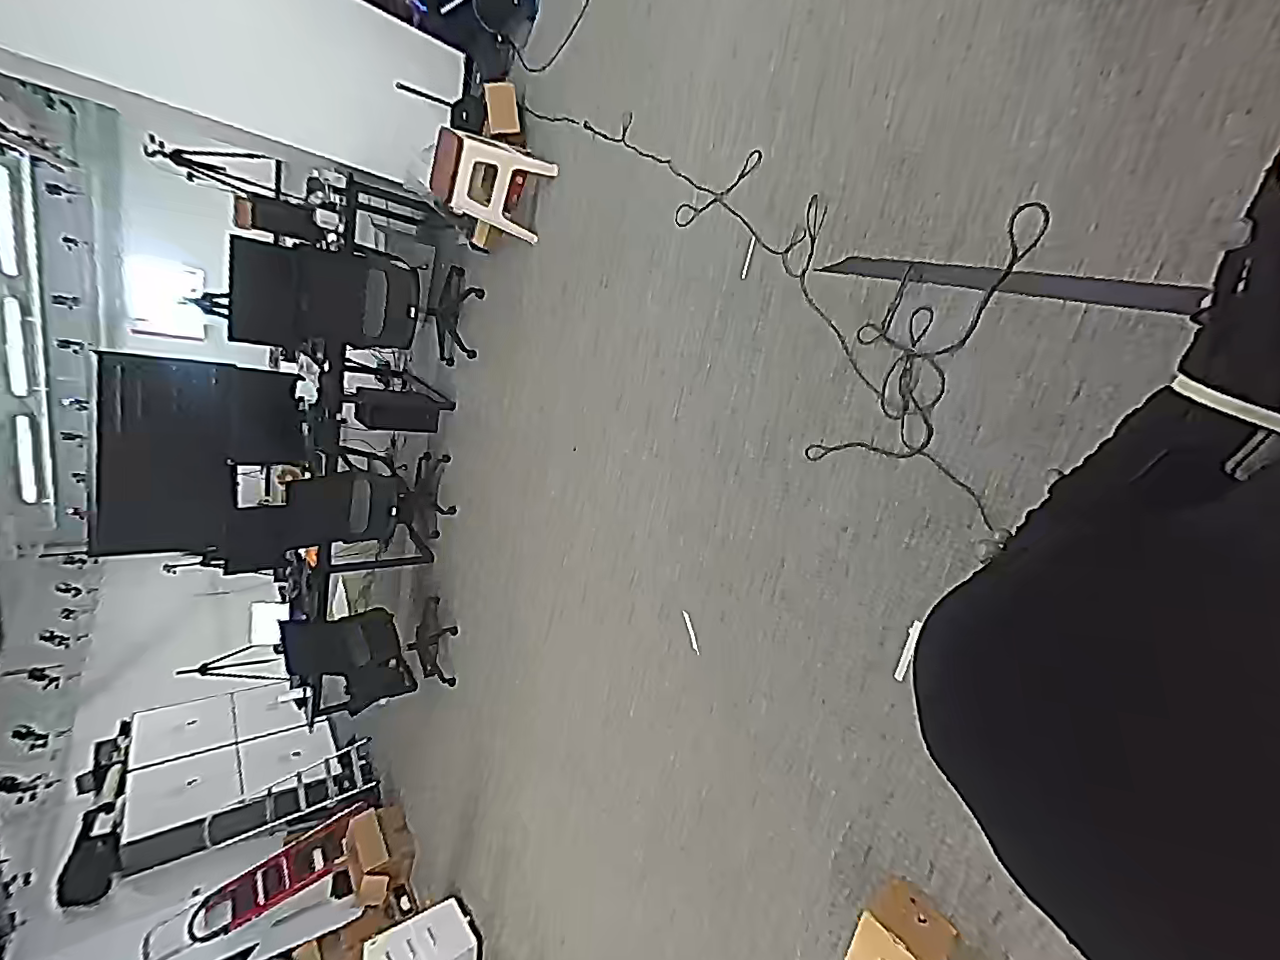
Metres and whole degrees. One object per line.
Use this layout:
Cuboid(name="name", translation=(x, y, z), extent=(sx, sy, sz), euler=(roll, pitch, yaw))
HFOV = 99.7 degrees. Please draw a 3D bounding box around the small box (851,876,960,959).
Cuboid(name="small box", translation=(0.664, 1.154, 1.348), extent=(0.168, 0.176, 0.179), euler=(26, 110, 47))
